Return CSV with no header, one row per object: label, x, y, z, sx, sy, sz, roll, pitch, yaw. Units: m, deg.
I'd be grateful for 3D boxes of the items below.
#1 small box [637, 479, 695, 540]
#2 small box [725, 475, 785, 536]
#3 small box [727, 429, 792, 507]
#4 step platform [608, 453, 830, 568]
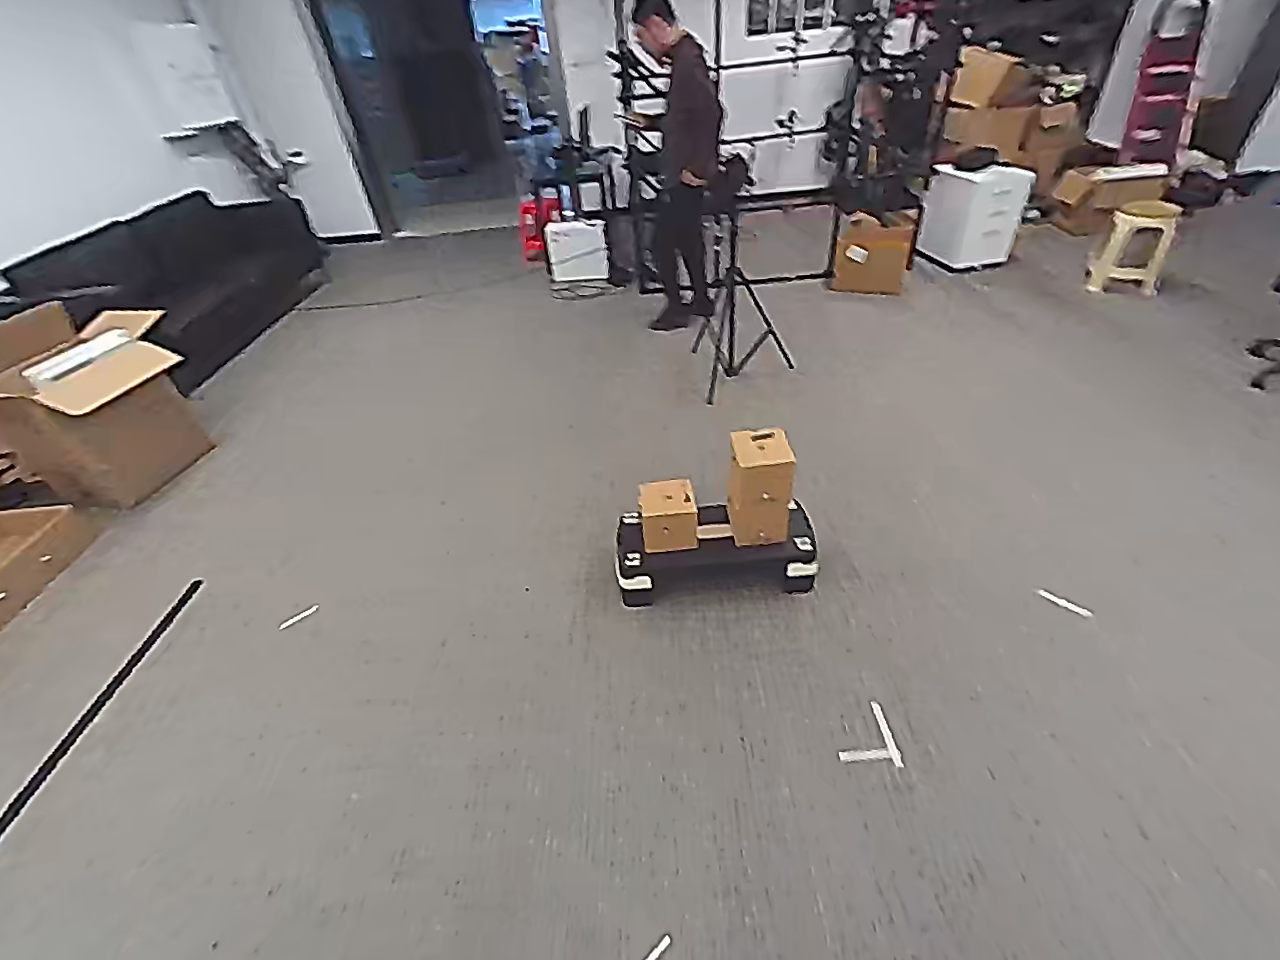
small box,0.087,0.121,1.813,0.179,0.176,0.168,-7,39,0
small box,0.376,0.091,1.806,0.168,0.176,0.179,-7,40,1
small box,0.369,-0.038,1.704,0.168,0.176,0.179,-7,40,1
step platform,0.243,0.100,1.759,0.684,0.204,0.286,-5,39,1
